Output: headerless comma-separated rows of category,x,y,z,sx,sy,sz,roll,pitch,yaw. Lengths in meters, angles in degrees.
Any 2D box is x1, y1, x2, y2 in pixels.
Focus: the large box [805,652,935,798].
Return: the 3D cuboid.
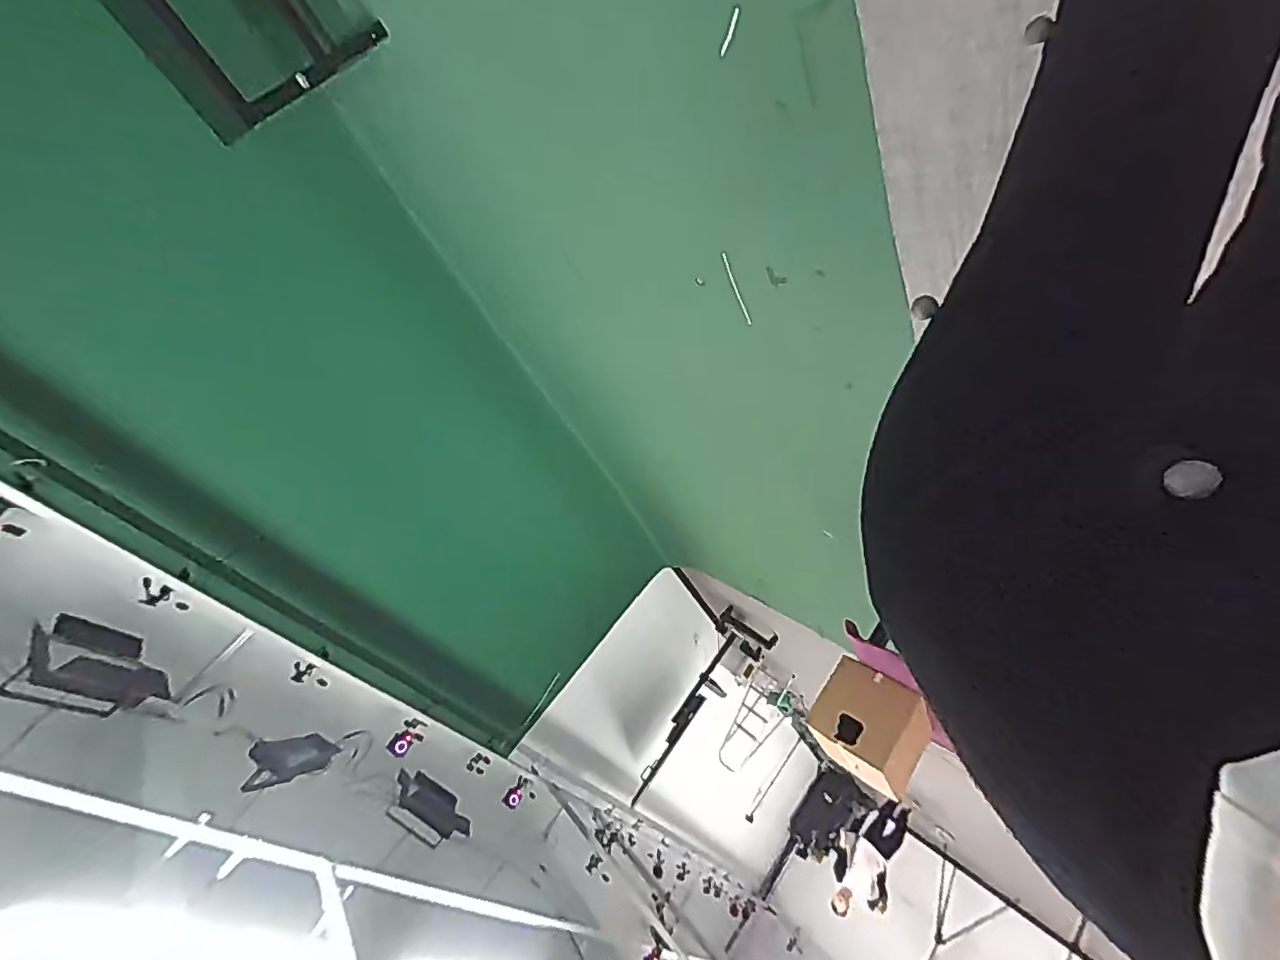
large box,0.902,0.943,2.094,0.320,0.320,0.408,20,153,46
